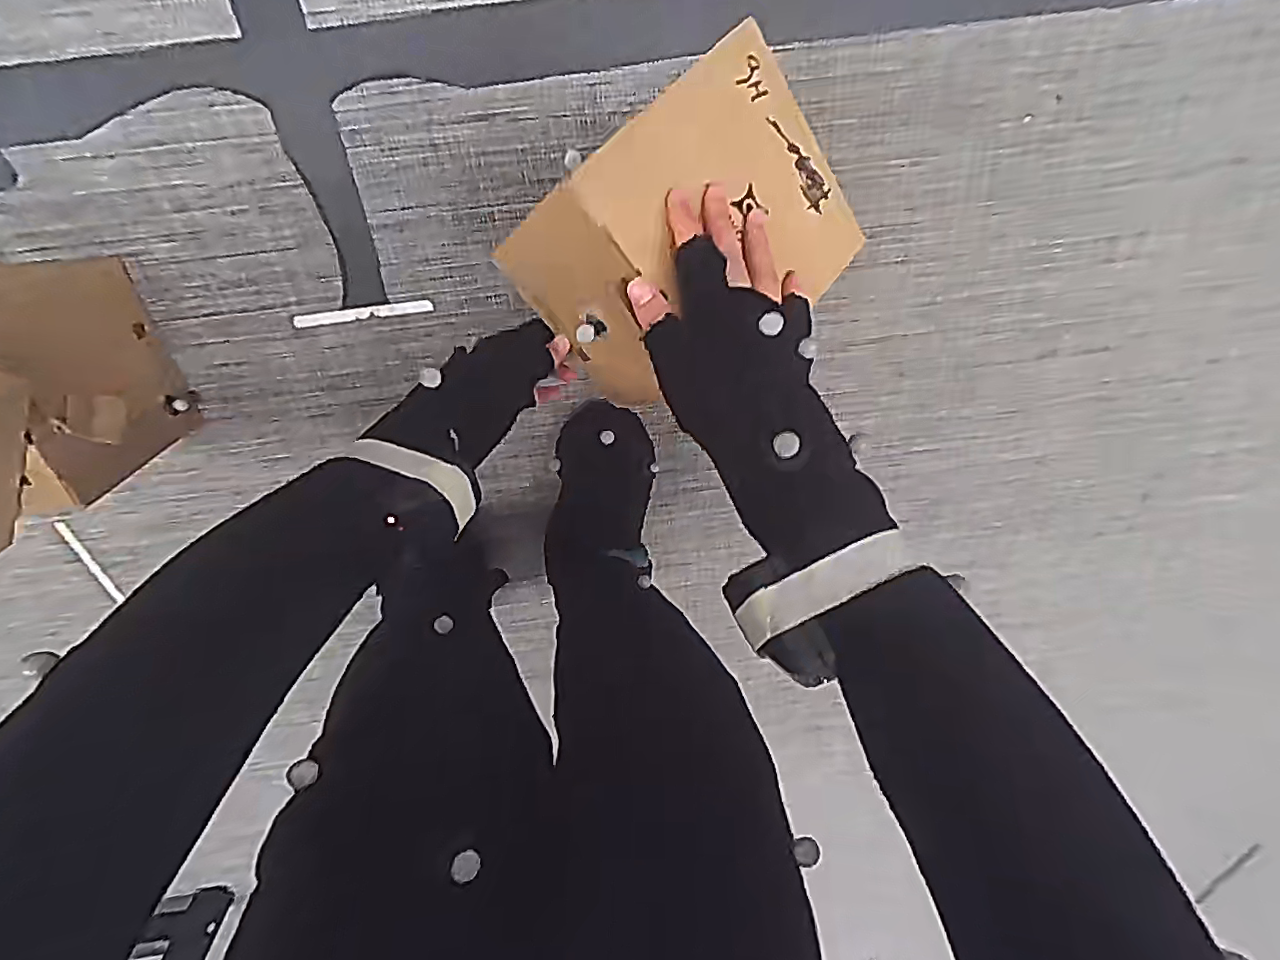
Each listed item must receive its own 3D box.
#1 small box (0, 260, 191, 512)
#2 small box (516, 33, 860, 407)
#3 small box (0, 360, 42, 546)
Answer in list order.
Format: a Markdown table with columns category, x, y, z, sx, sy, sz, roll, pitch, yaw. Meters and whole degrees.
| category | x | y | z | sx | sy | sz | roll | pitch | yaw |
| --- | --- | --- | --- | --- | --- | --- | --- | --- | --- |
| small box | -0.539 | -0.084 | 0.460 | 0.179 | 0.176 | 0.168 | -4 | 122 | -2 |
| small box | 0.024 | -0.174 | 0.421 | 0.179 | 0.176 | 0.168 | -49 | 117 | -14 |
| small box | -0.525 | -0.004 | 0.313 | 0.179 | 0.176 | 0.168 | 27 | 116 | -20 |
